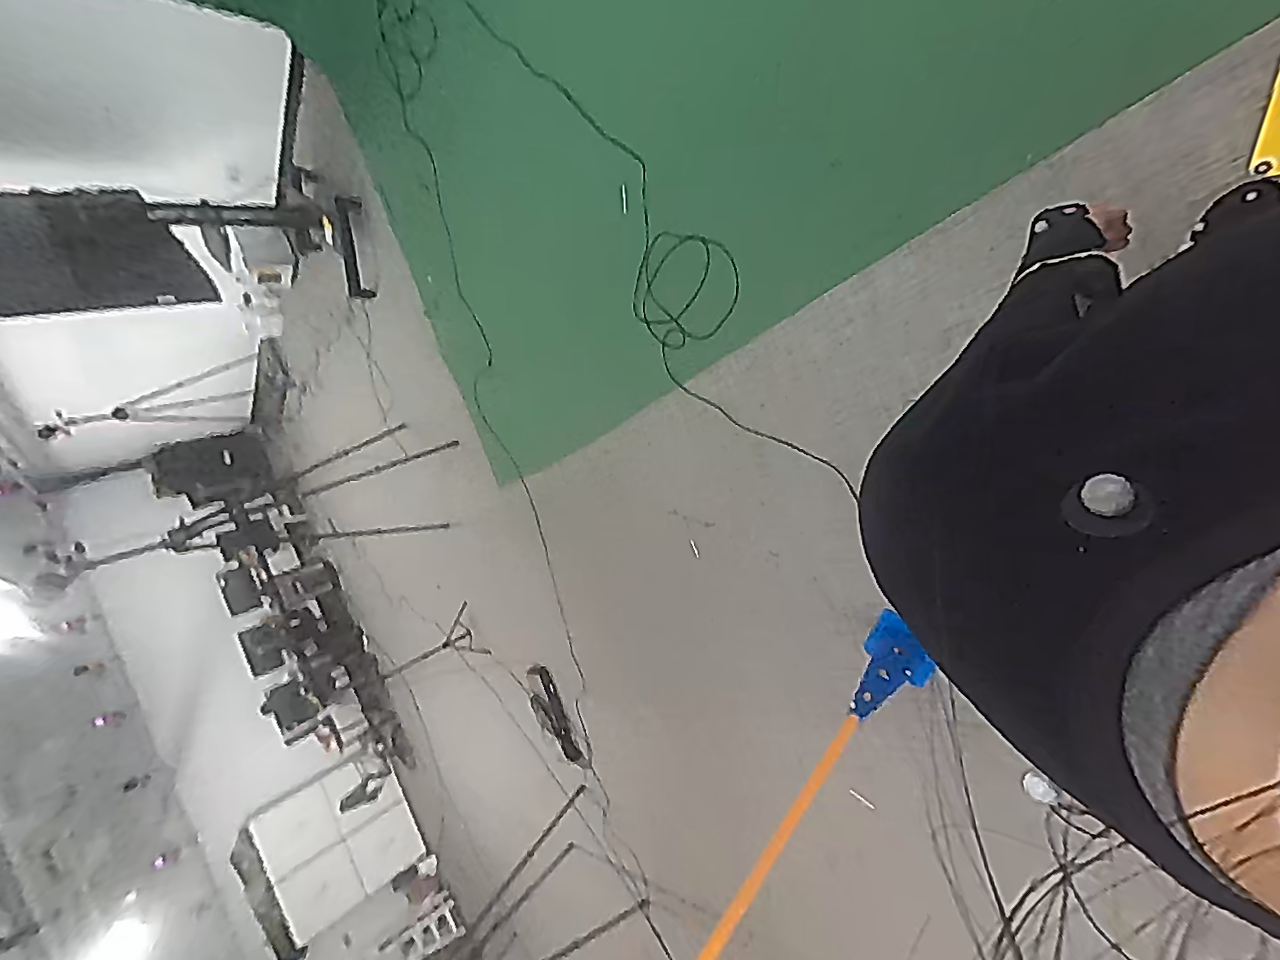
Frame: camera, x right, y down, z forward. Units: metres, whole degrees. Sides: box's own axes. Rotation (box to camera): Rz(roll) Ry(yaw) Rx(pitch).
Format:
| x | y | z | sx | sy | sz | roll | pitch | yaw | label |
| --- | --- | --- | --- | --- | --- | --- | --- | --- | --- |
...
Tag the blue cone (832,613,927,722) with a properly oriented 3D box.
| x | y | z | sx | sy | sz | roll | pitch | yaw | label |
| --- | --- | --- | --- | --- | --- | --- | --- | --- | --- |
| 0.668 | 0.579 | 1.575 | 0.192 | 0.380 | 0.193 | 32 | 130 | 32 | blue cone |
